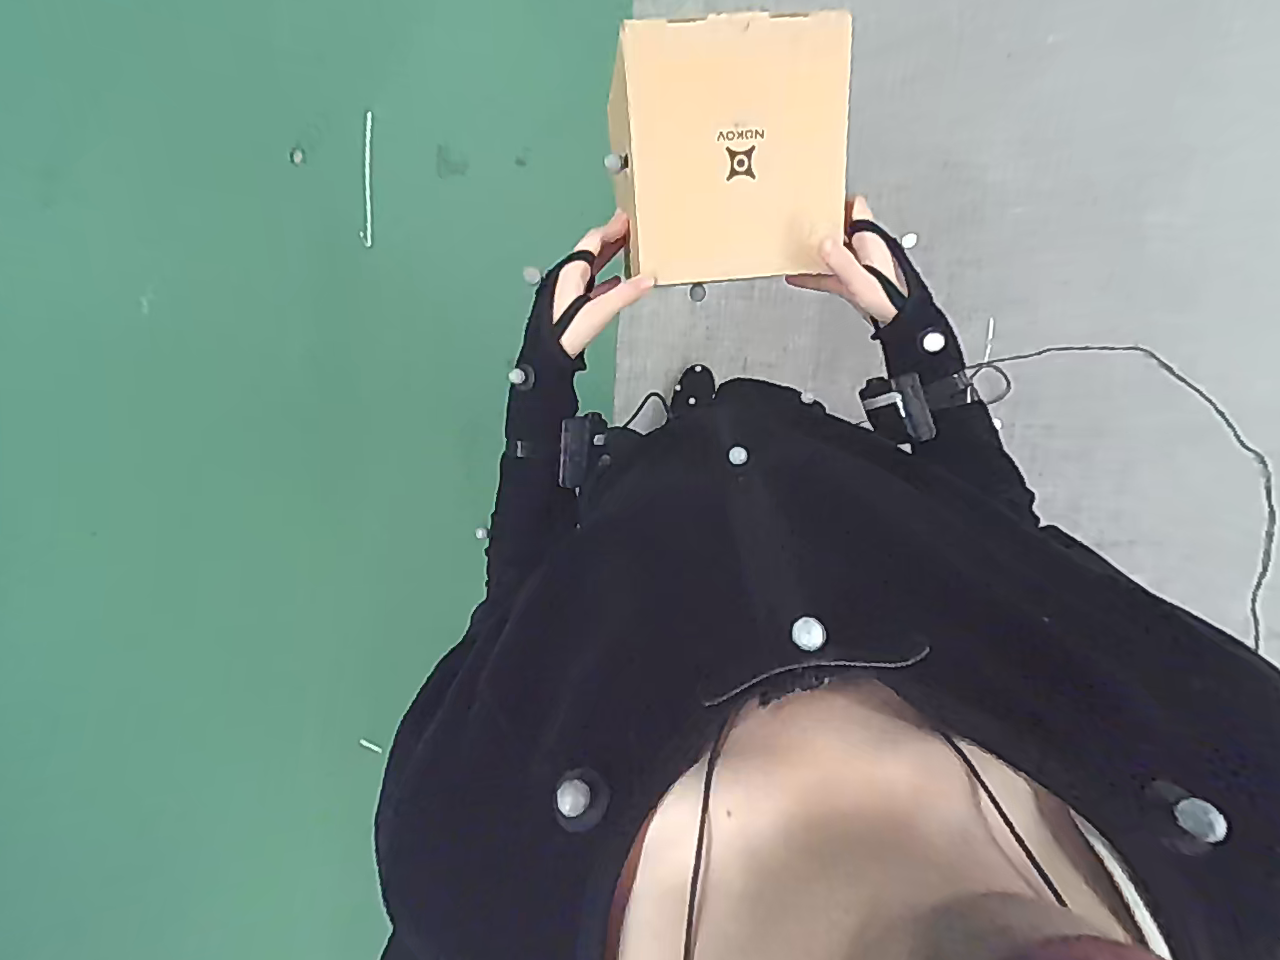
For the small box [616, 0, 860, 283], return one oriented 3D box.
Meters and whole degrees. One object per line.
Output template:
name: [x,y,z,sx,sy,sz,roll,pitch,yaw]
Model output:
small box: [0.070,-0.269,0.472,0.168,0.176,0.179,-6,108,-4]
